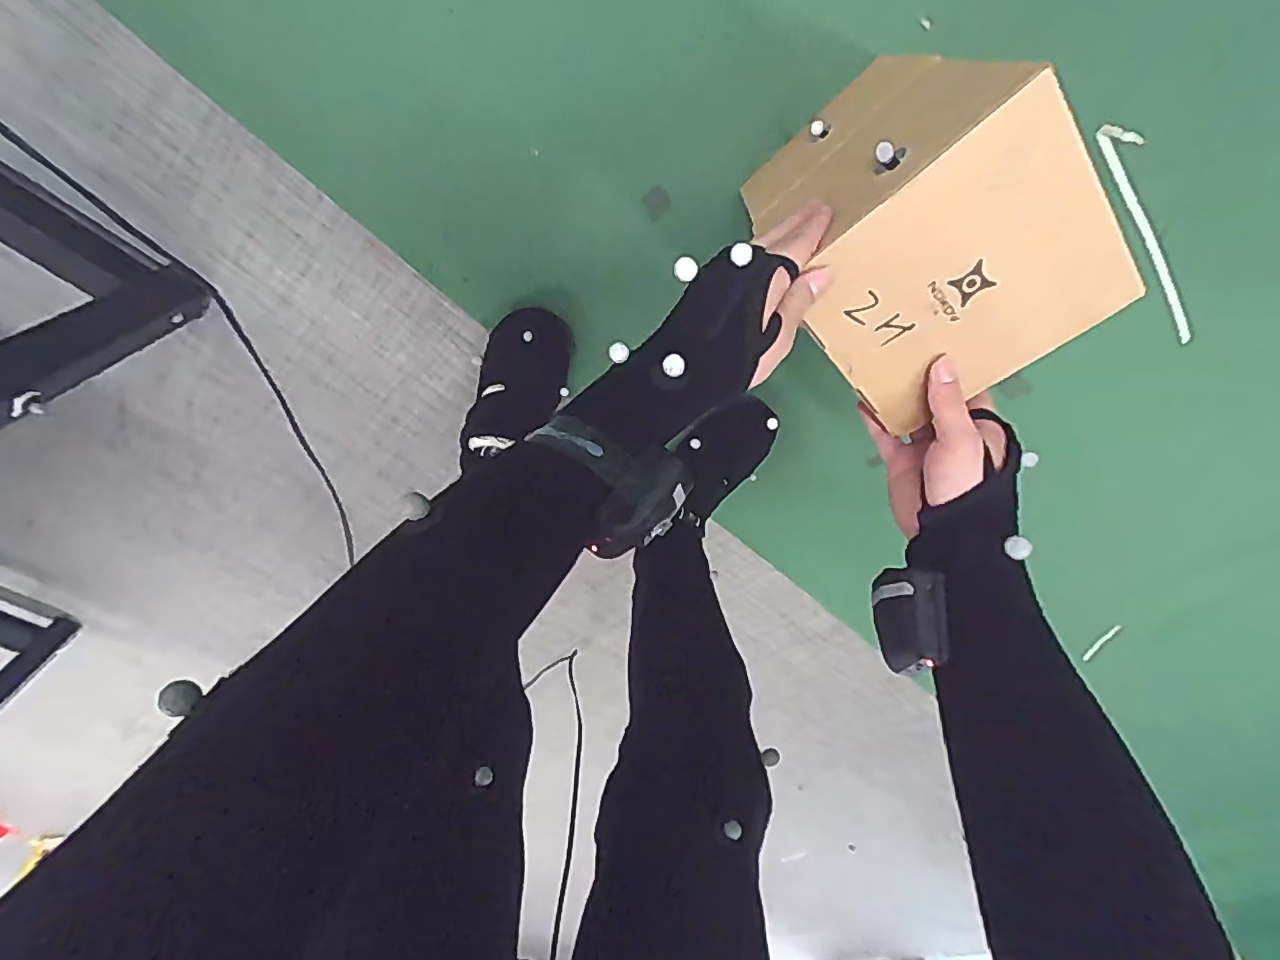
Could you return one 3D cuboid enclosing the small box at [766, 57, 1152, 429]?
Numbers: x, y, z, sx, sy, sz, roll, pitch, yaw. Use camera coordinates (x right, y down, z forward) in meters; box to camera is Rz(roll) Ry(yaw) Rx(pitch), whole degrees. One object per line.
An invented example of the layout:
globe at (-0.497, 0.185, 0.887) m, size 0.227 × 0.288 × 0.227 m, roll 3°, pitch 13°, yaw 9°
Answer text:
small box at (0.217, -0.180, 0.415) m, size 0.179 × 0.176 × 0.168 m, roll -35°, pitch 118°, yaw 28°
